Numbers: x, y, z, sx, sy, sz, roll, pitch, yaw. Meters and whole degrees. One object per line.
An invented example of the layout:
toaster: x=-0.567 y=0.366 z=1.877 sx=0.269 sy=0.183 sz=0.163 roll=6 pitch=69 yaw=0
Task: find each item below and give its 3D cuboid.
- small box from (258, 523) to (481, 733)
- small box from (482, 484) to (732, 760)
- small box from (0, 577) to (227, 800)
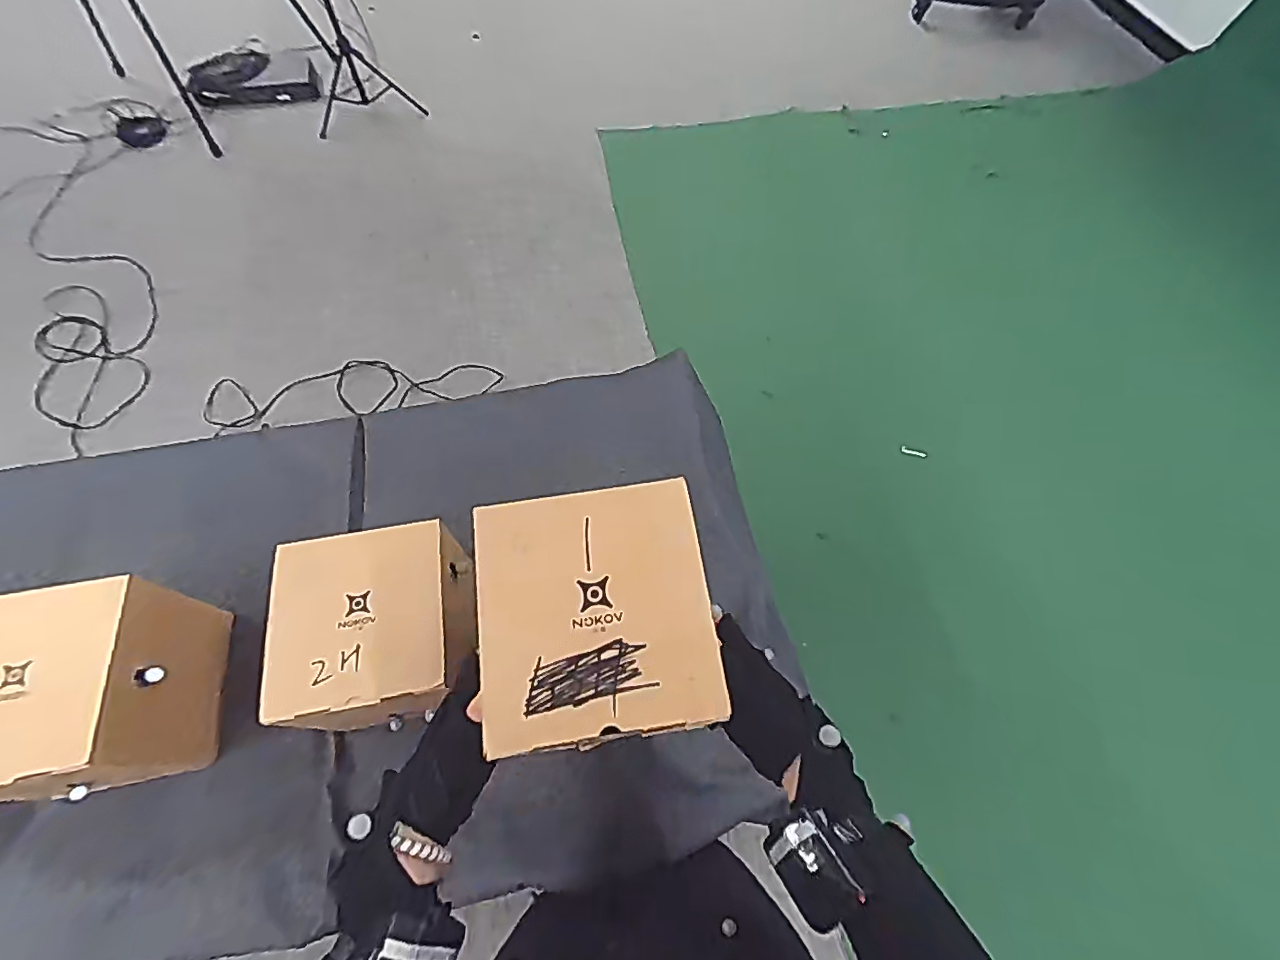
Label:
small box: x=-0.278 y=0.168 z=0.598 sx=0.168 sy=0.176 sz=0.179 roll=-8 pitch=63 yaw=-7
small box: x=-0.029 y=0.120 z=0.460 sx=0.168 sy=0.176 sz=0.179 roll=-7 pitch=70 yaw=-4
small box: x=-0.568 y=0.219 z=0.557 sx=0.168 sy=0.176 sz=0.179 roll=-9 pitch=65 yaw=-8
